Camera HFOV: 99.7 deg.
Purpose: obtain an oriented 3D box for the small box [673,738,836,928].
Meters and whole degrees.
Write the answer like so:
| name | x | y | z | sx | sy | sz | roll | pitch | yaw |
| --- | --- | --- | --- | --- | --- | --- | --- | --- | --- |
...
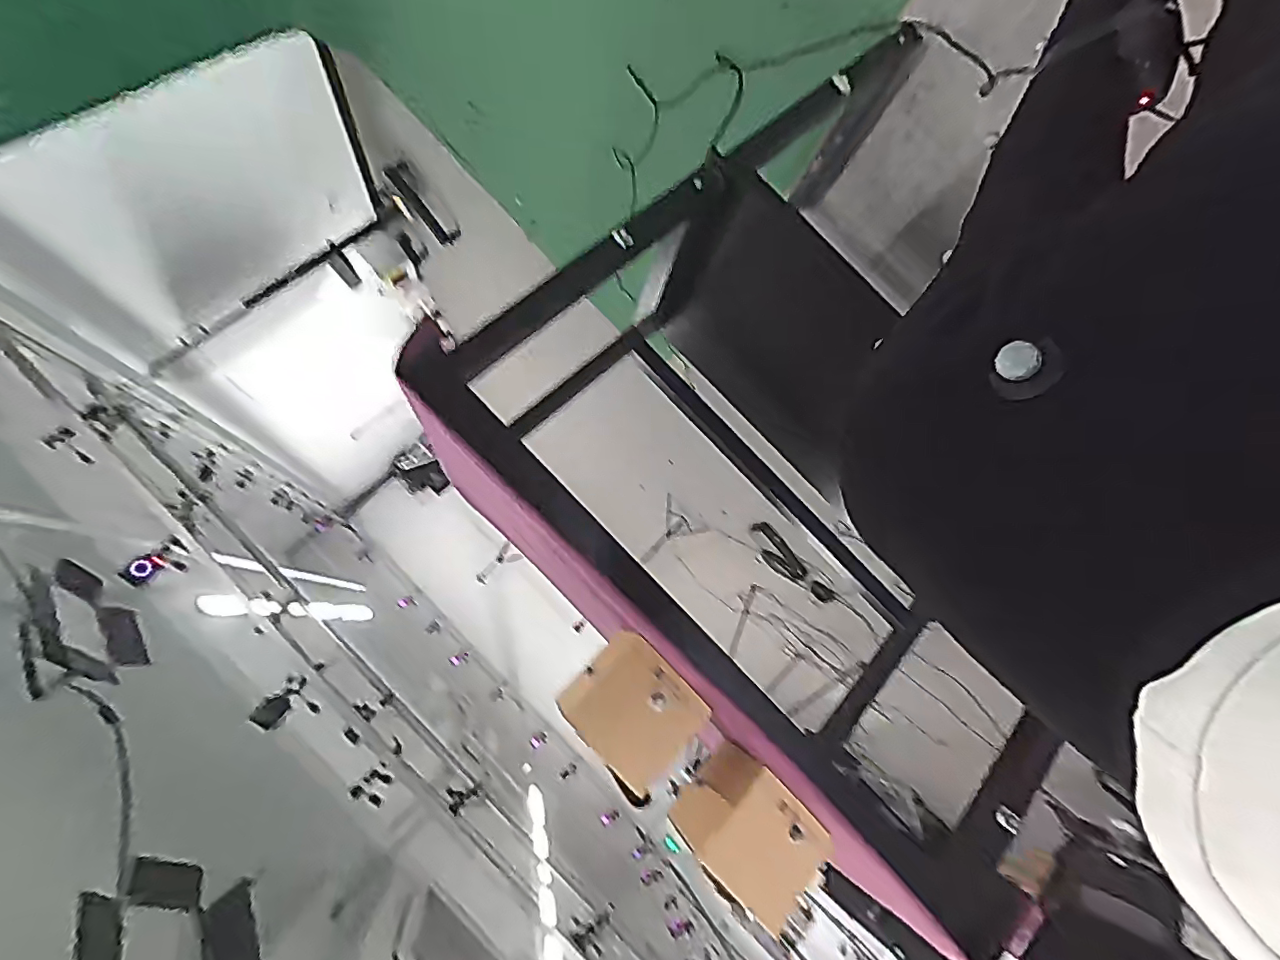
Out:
| name | x | y | z | sx | sy | sz | roll | pitch | yaw |
| --- | --- | --- | --- | --- | --- | --- | --- | --- | --- |
| small box | 0.187 | 0.564 | 0.897 | 0.168 | 0.176 | 0.179 | 46 | 162 | -1 |

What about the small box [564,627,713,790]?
| name | x | y | z | sx | sy | sz | roll | pitch | yaw |
| --- | --- | --- | --- | --- | --- | --- | --- | --- | --- |
| small box | -0.005 | 0.364 | 0.902 | 0.168 | 0.176 | 0.179 | 46 | 162 | 0 |
